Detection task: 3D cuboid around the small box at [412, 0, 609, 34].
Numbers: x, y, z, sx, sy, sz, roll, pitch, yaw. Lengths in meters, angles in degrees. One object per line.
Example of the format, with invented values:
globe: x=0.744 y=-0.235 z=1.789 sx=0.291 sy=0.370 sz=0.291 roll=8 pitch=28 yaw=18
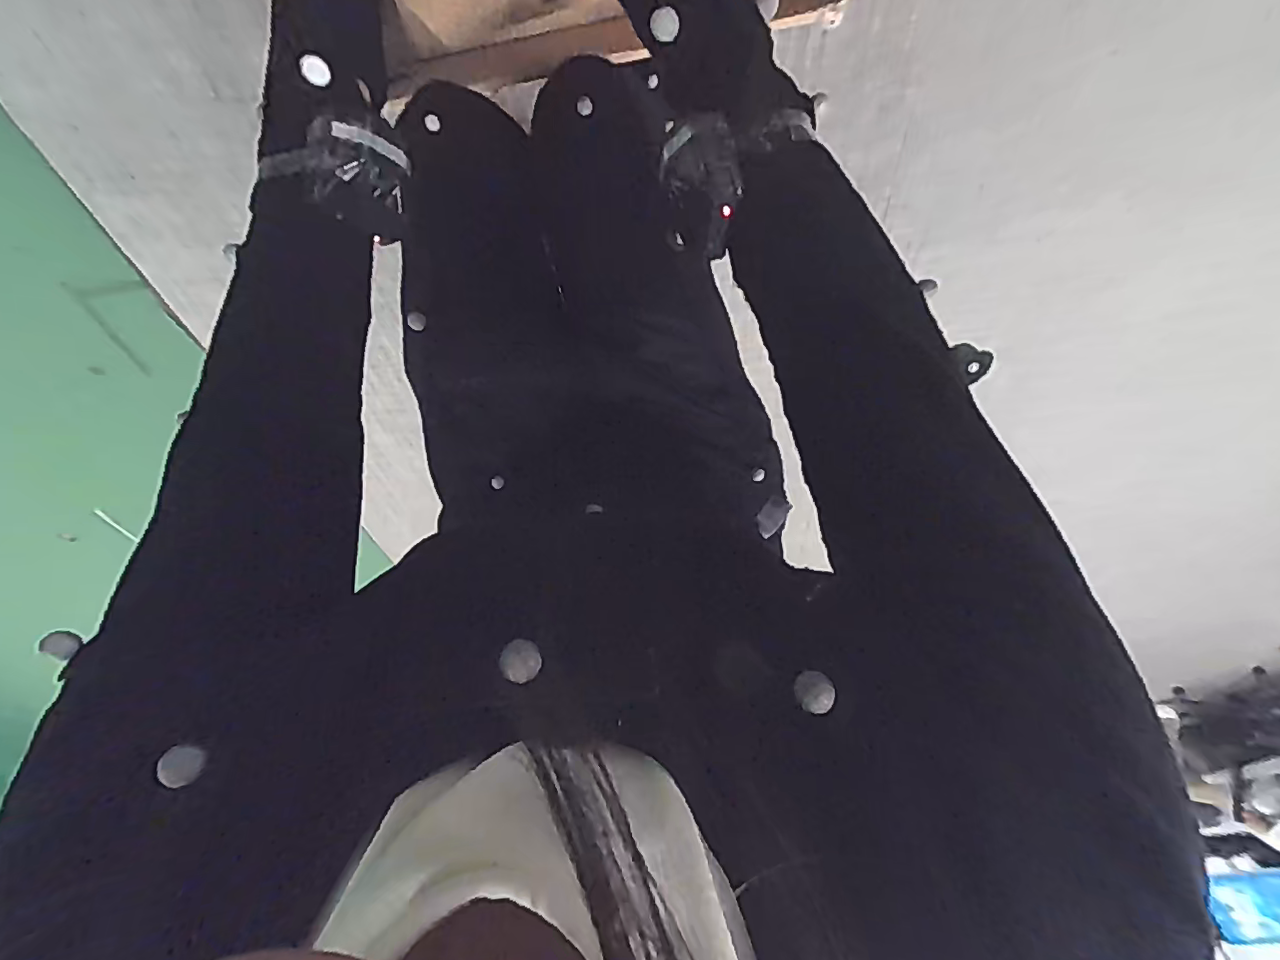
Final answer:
small box: x=-0.112 y=-0.449 z=0.368 sx=0.168 sy=0.176 sz=0.179 roll=-8 pitch=106 yaw=9
